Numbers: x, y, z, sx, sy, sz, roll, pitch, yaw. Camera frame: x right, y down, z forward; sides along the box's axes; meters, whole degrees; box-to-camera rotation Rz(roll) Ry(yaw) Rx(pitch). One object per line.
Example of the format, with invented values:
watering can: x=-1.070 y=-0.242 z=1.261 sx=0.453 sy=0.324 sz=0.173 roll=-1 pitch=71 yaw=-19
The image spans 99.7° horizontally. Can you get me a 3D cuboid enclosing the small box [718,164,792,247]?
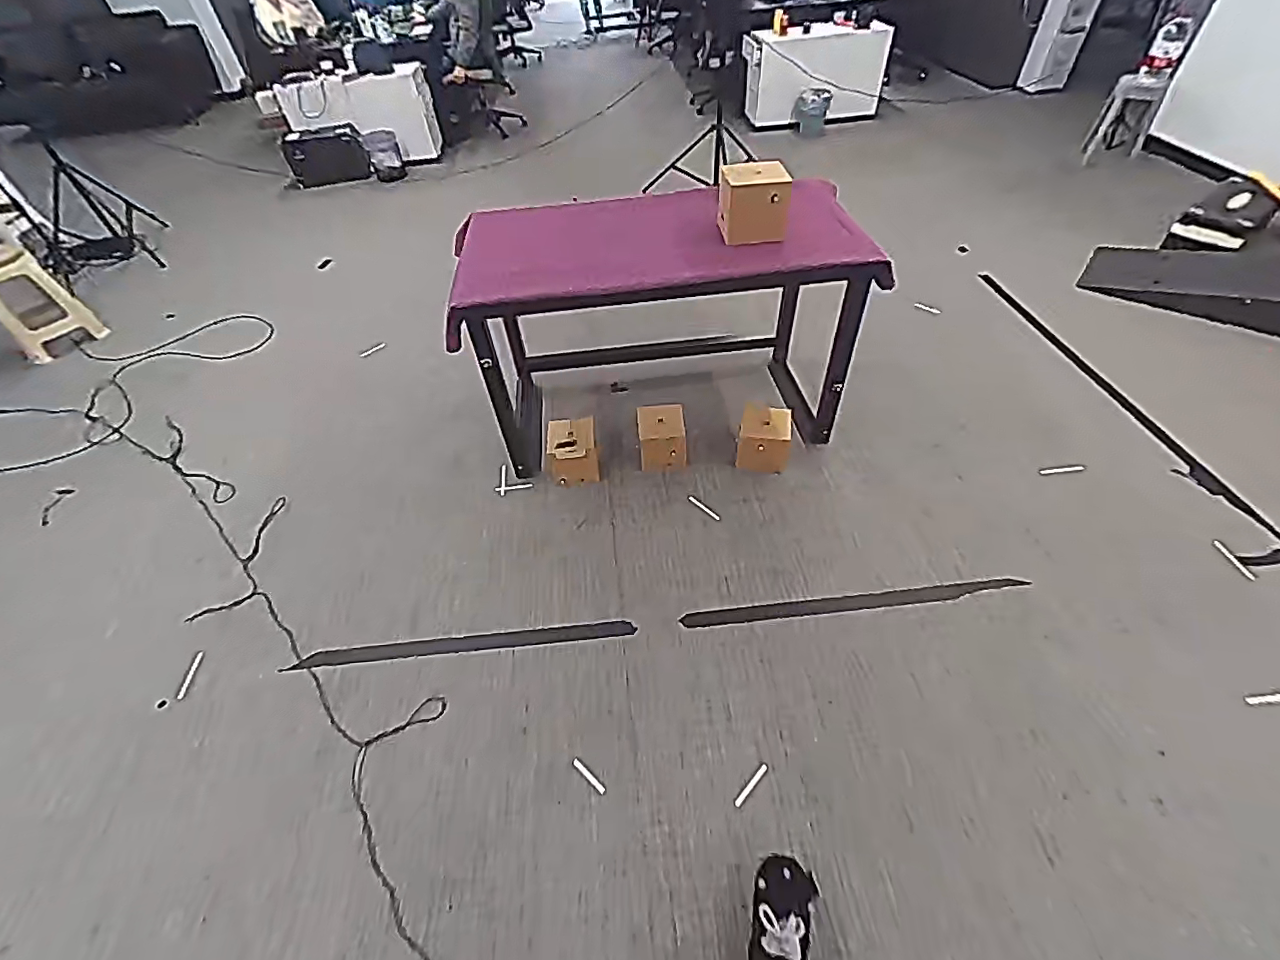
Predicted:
small box: x=0.331 y=-0.808 z=1.596 sx=0.179 sy=0.176 sz=0.168 roll=-6 pitch=47 yaw=0

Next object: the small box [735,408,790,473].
small box: x=0.446 y=-0.141 z=1.972 sx=0.179 sy=0.176 sz=0.168 roll=5 pitch=49 yaw=11

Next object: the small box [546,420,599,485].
small box: x=-0.244 y=-0.096 z=1.981 sx=0.168 sy=0.176 sz=0.179 roll=-6 pitch=47 yaw=-1

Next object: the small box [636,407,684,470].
small box: x=0.075 y=-0.148 z=2.007 sx=0.168 sy=0.176 sz=0.179 roll=-5 pitch=47 yaw=-1
